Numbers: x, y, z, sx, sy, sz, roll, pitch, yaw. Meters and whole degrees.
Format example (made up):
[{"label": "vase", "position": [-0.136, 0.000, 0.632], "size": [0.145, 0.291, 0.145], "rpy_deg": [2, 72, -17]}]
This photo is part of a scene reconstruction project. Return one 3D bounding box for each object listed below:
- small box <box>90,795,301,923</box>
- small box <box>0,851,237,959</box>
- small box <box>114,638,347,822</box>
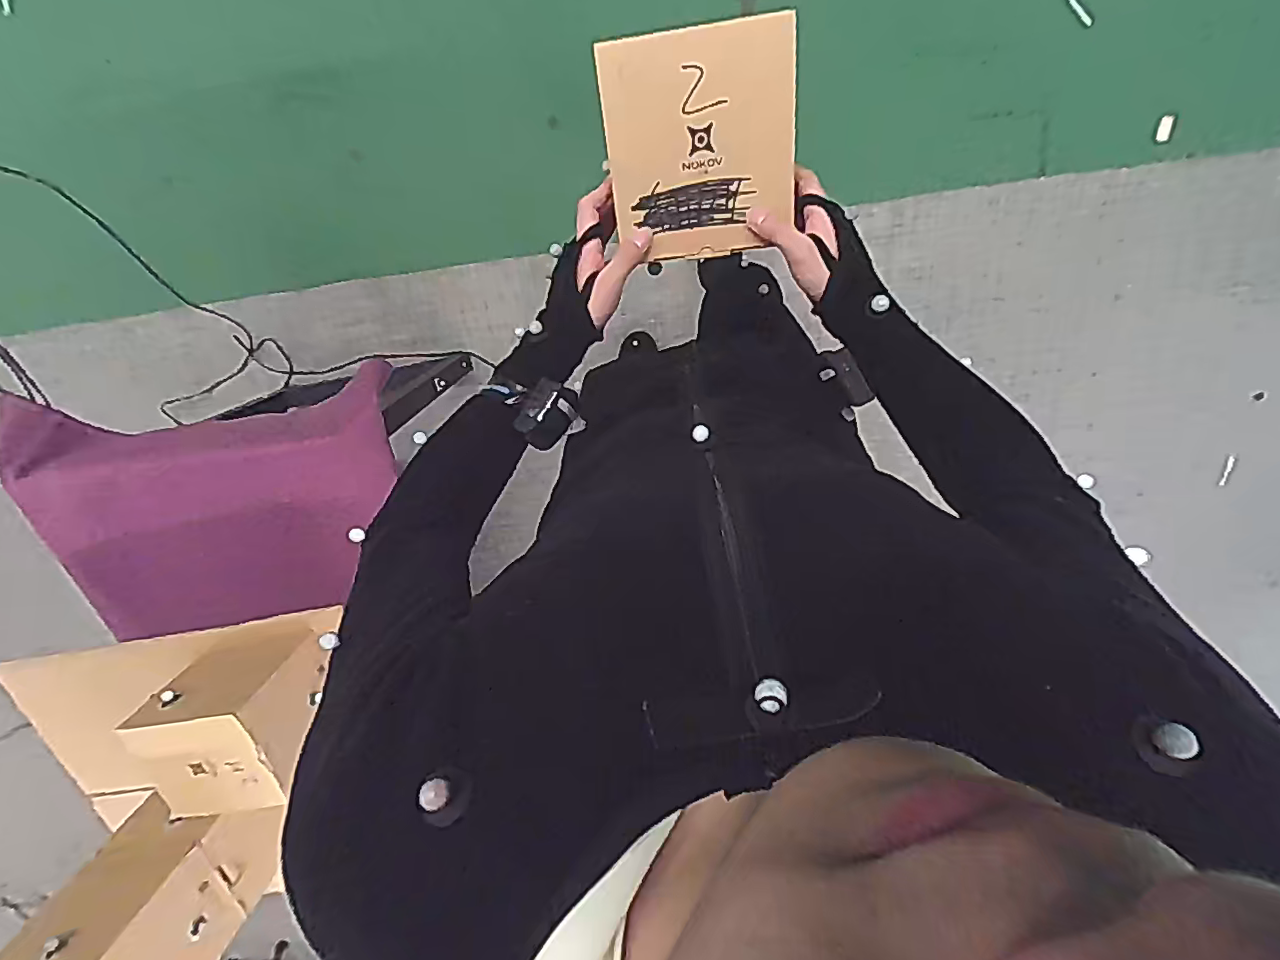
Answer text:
[{"label": "small box", "position": [-0.687, 0.574, 0.868], "size": [0.179, 0.176, 0.168], "rpy_deg": [-10, 109, 6]}, {"label": "small box", "position": [-0.699, 0.633, 0.717], "size": [0.179, 0.176, 0.168], "rpy_deg": [-11, 109, 5]}, {"label": "small box", "position": [-0.570, 0.352, 0.781], "size": [0.179, 0.176, 0.168], "rpy_deg": [-9, 111, 5]}]
